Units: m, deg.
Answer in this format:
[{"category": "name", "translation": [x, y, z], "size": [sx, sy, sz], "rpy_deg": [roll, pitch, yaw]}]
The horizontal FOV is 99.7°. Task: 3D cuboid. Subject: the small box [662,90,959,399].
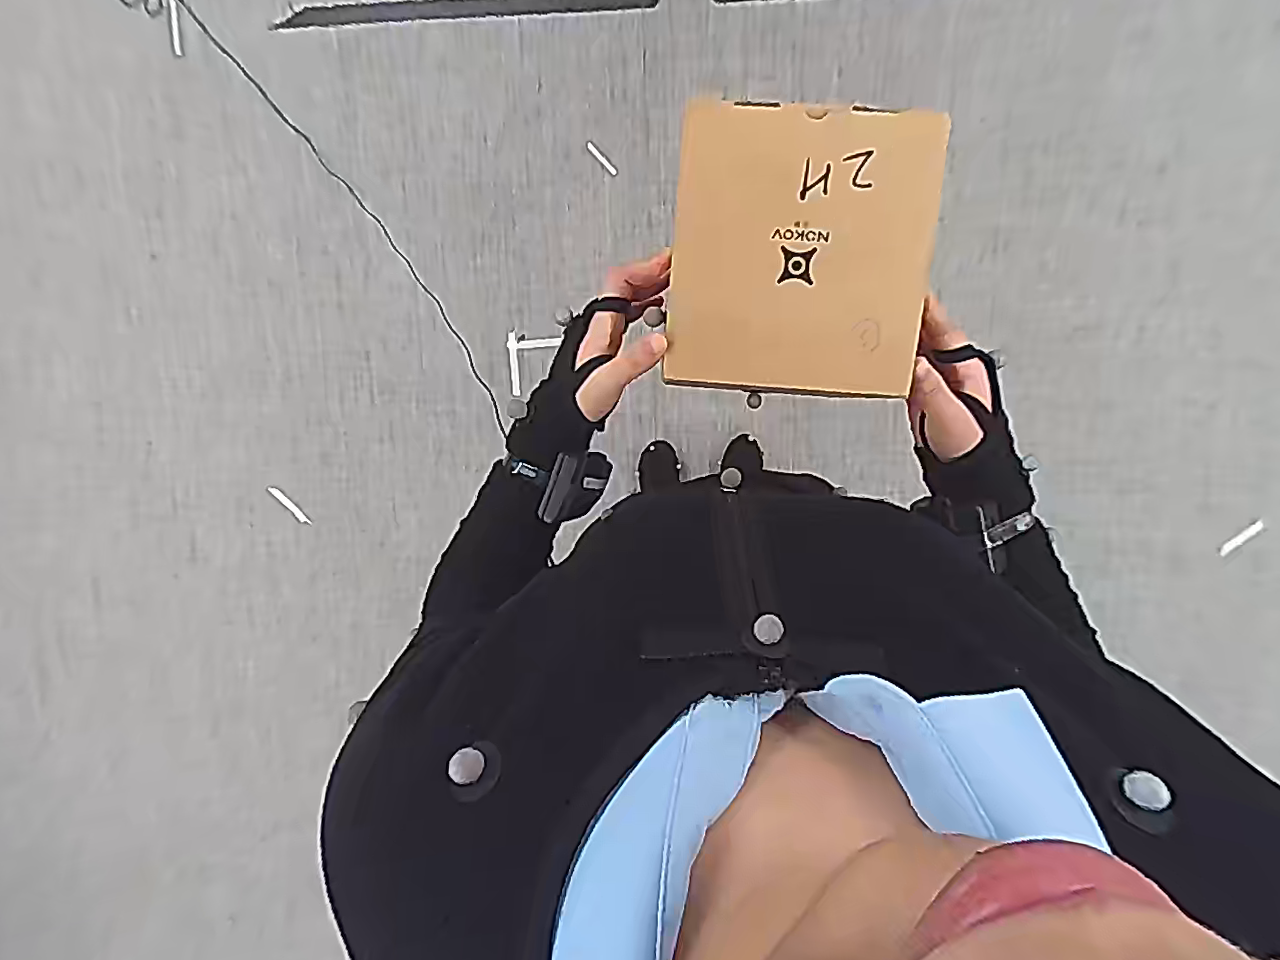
[{"category": "small box", "translation": [0.107, -0.157, 0.418], "size": [0.168, 0.176, 0.179], "rpy_deg": [5, 99, 2]}]
